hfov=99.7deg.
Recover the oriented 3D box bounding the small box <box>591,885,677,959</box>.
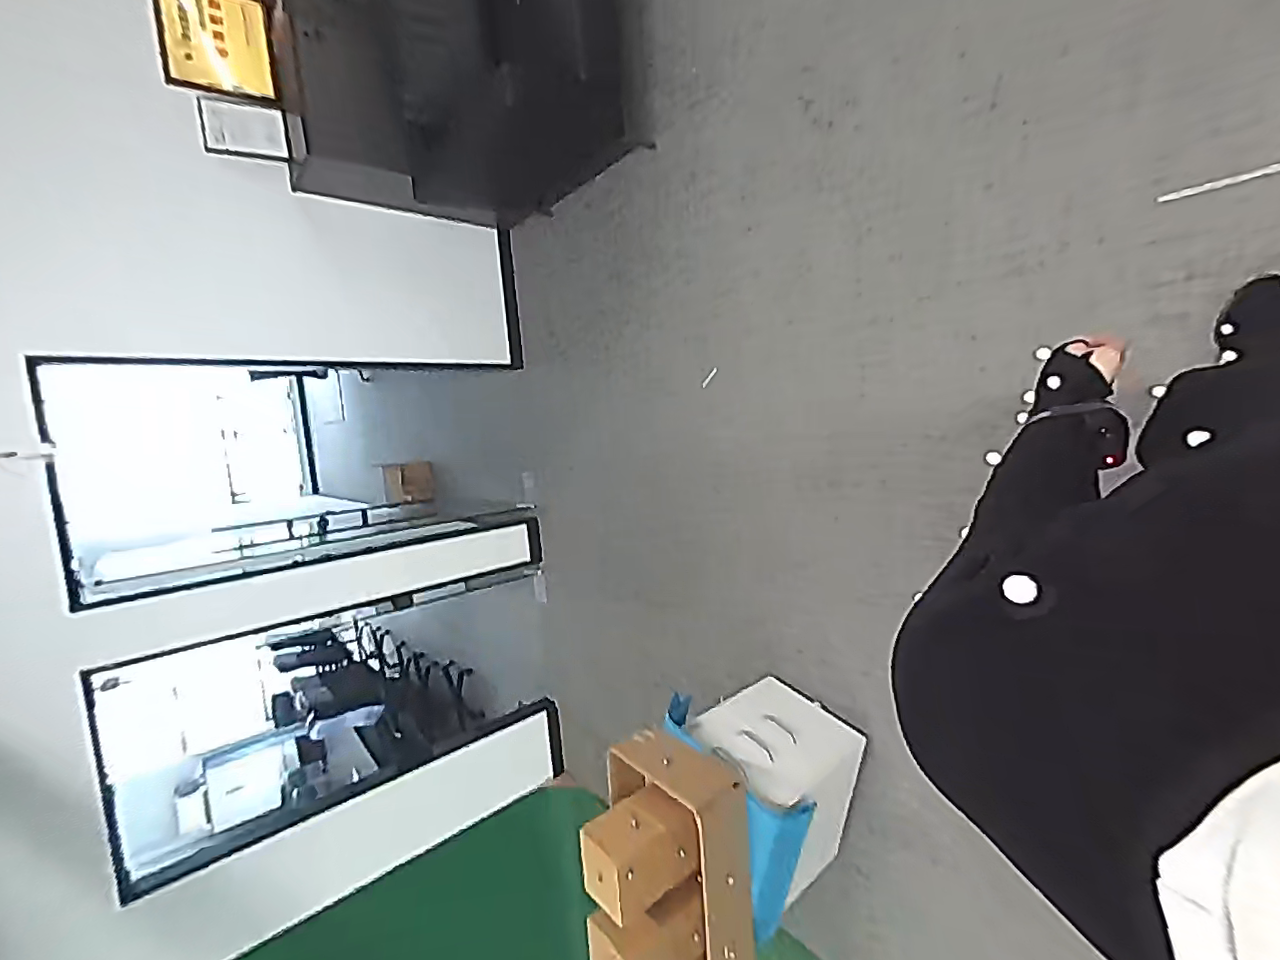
[{"bbox_3d":[-0.014,1.250,1.443,0.168,0.176,0.179,3,98,50],"label":"small box"}]
